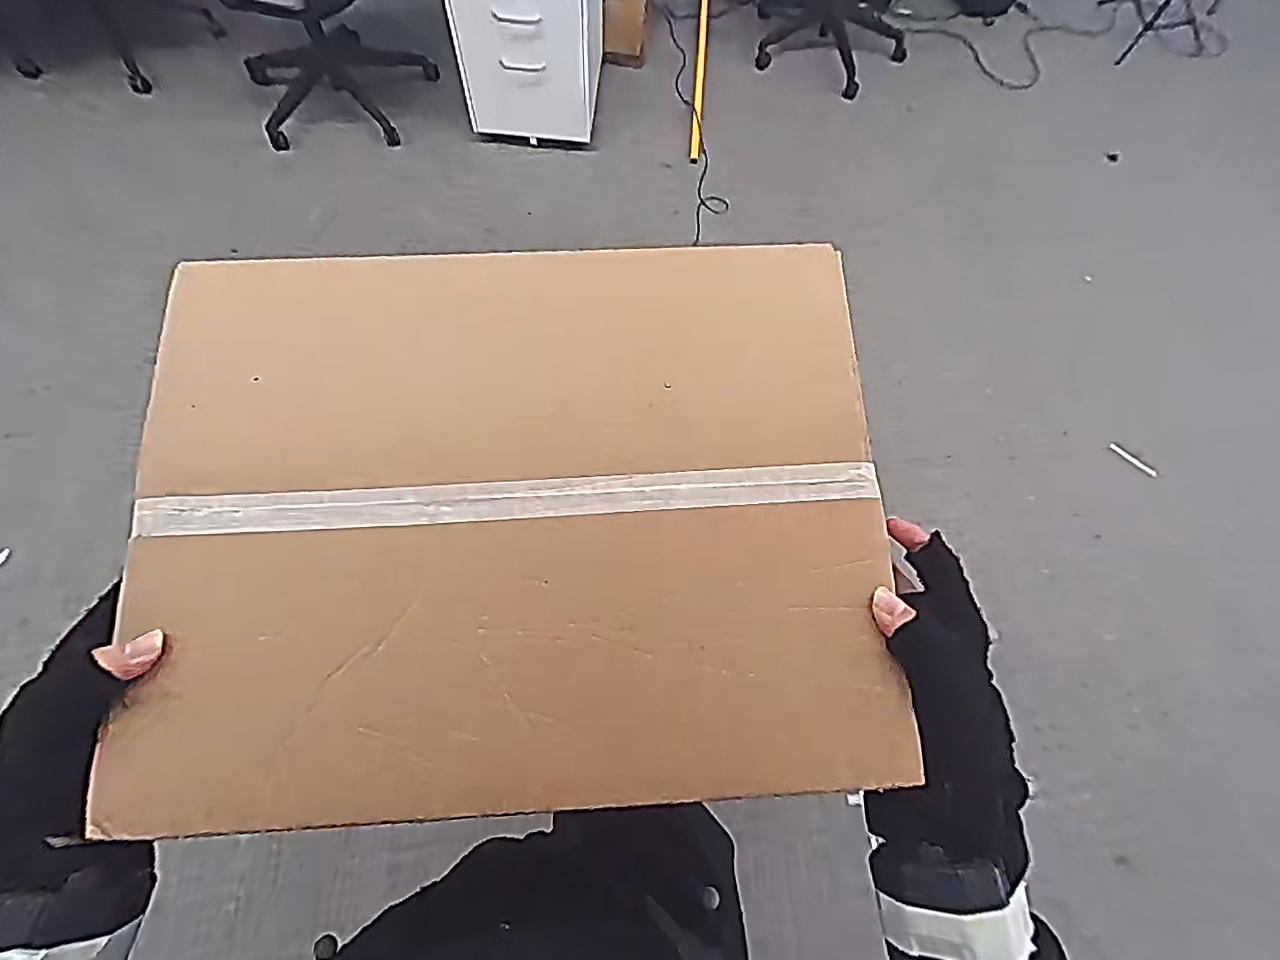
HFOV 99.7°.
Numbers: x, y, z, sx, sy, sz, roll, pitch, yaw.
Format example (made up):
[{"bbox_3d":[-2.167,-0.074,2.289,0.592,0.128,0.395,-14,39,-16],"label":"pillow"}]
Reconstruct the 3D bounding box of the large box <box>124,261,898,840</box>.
[{"bbox_3d":[-0.072,0.052,0.454,0.408,0.320,0.320,-3,76,-2],"label":"large box"}]
